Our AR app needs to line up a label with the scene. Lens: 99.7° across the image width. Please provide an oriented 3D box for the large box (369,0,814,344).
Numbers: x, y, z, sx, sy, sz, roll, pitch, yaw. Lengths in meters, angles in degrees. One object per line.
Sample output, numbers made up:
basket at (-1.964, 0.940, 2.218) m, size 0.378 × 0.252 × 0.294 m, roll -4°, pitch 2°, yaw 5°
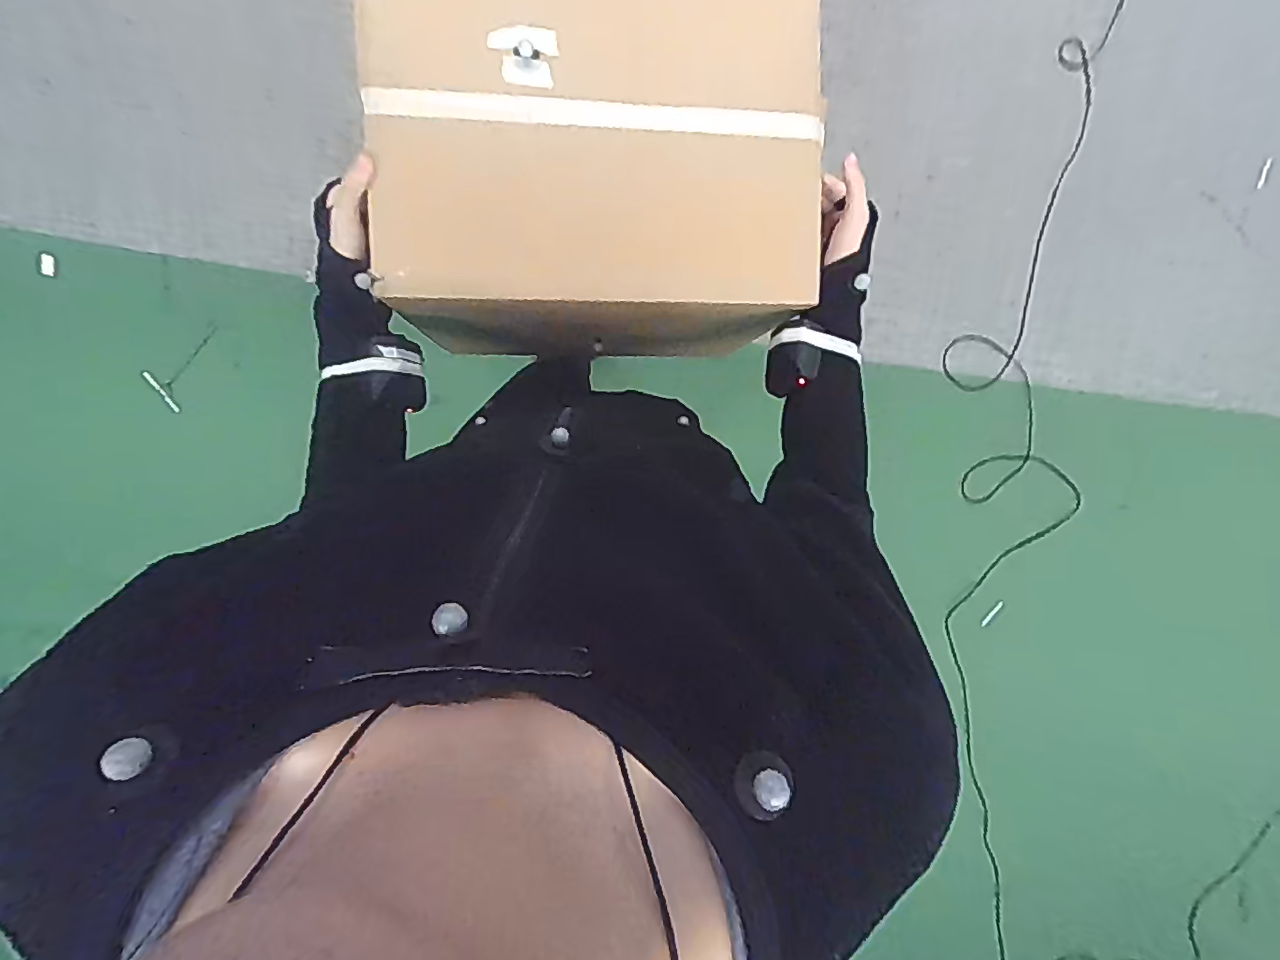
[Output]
large box at (-0.049, -0.337, 0.637) m, size 0.408 × 0.320 × 0.320 m, roll -1°, pitch 94°, yaw -7°
